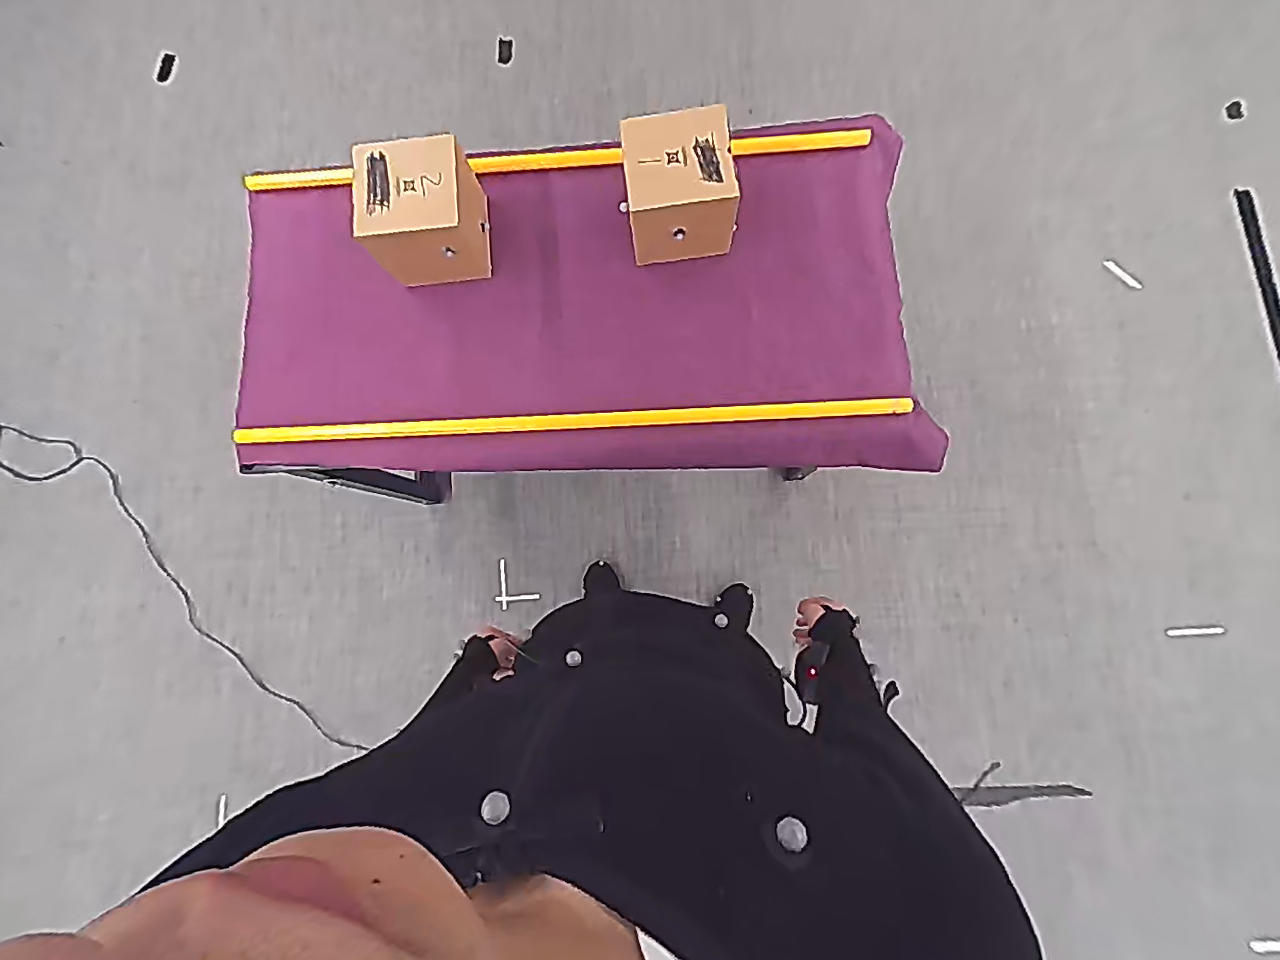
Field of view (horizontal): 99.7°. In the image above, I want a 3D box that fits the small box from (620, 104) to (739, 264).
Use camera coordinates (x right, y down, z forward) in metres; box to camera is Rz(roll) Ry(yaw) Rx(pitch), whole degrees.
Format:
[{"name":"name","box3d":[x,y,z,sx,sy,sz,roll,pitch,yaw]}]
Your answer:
[{"name":"small box","box3d":[0.065,-0.497,0.928,0.179,0.176,0.168,-7,82,3]}]
